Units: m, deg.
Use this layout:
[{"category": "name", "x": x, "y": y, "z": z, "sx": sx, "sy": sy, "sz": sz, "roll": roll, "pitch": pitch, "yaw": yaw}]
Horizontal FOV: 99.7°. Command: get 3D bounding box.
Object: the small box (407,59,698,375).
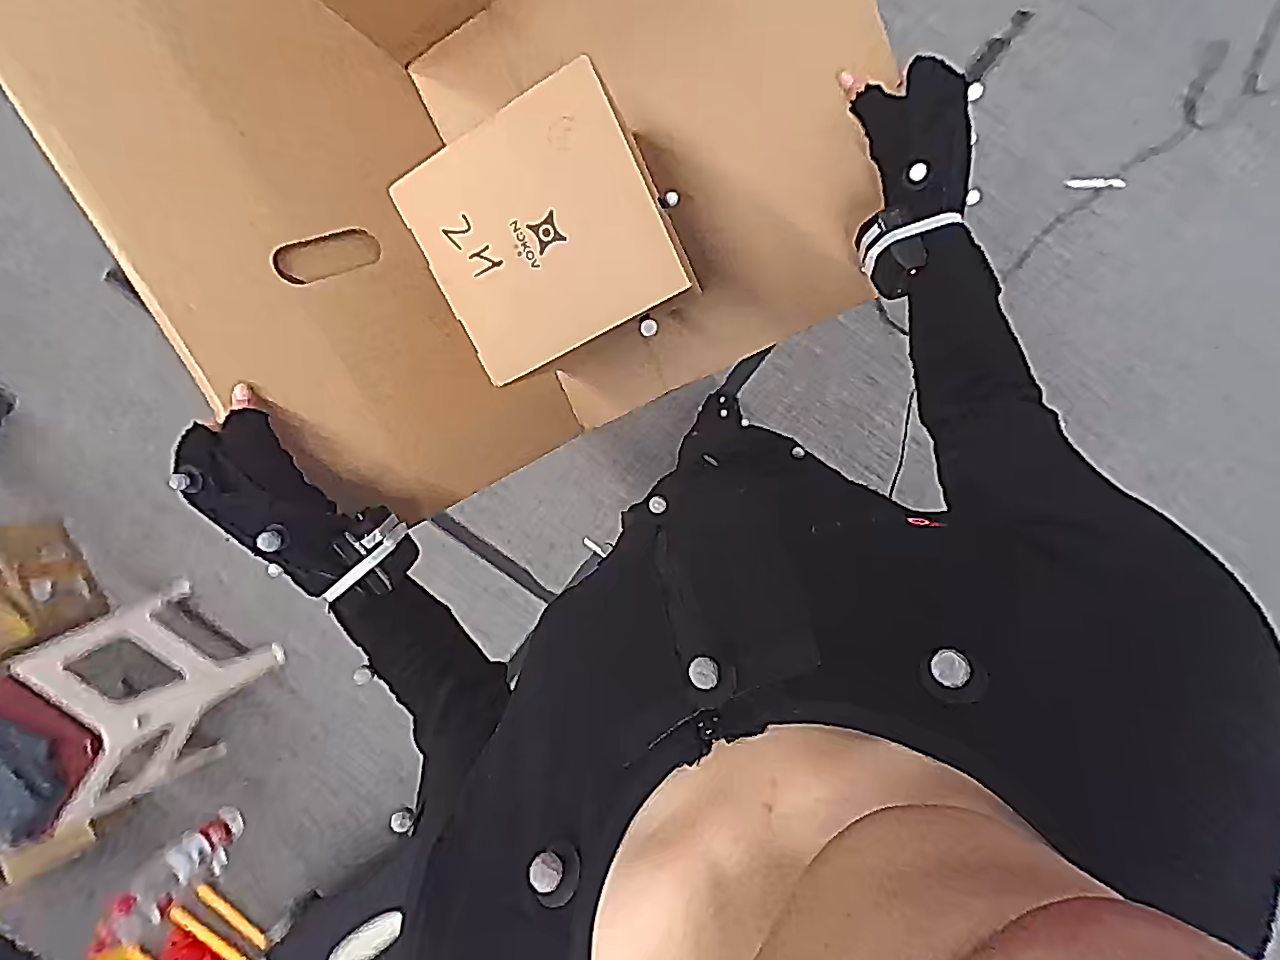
[{"category": "small box", "x": -0.056, "y": -0.210, "z": 0.480, "sx": 0.179, "sy": 0.176, "sz": 0.168, "roll": -22, "pitch": 101, "yaw": 16}]
